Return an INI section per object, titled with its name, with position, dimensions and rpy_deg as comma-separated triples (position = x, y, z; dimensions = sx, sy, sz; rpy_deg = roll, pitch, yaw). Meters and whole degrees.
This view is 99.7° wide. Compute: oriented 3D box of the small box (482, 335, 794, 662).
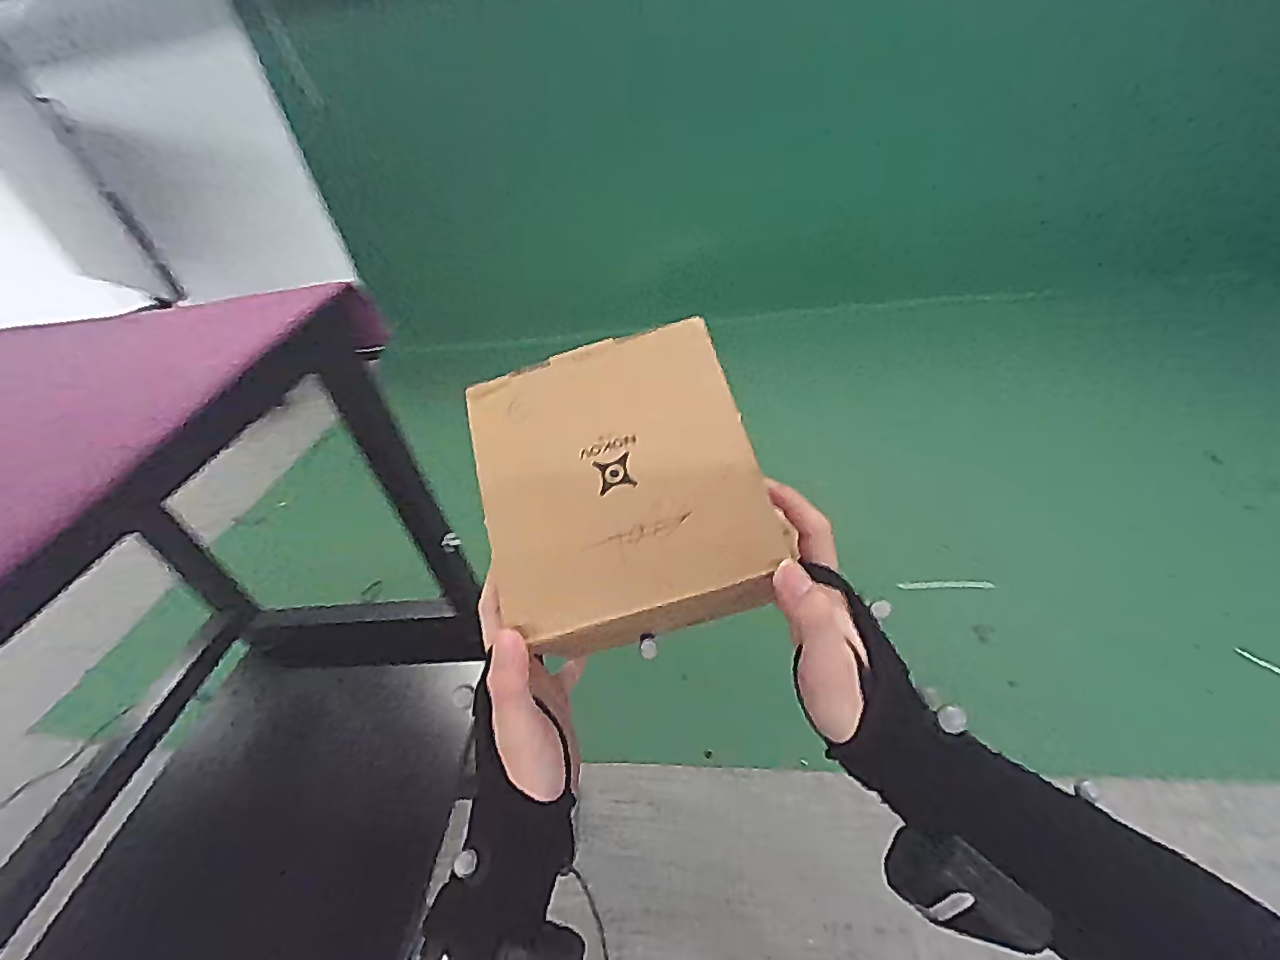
[small box]
position = -0.001, 0.028, 0.406
dimensions = 0.168, 0.176, 0.179
rpy_deg = -15, 69, 3
